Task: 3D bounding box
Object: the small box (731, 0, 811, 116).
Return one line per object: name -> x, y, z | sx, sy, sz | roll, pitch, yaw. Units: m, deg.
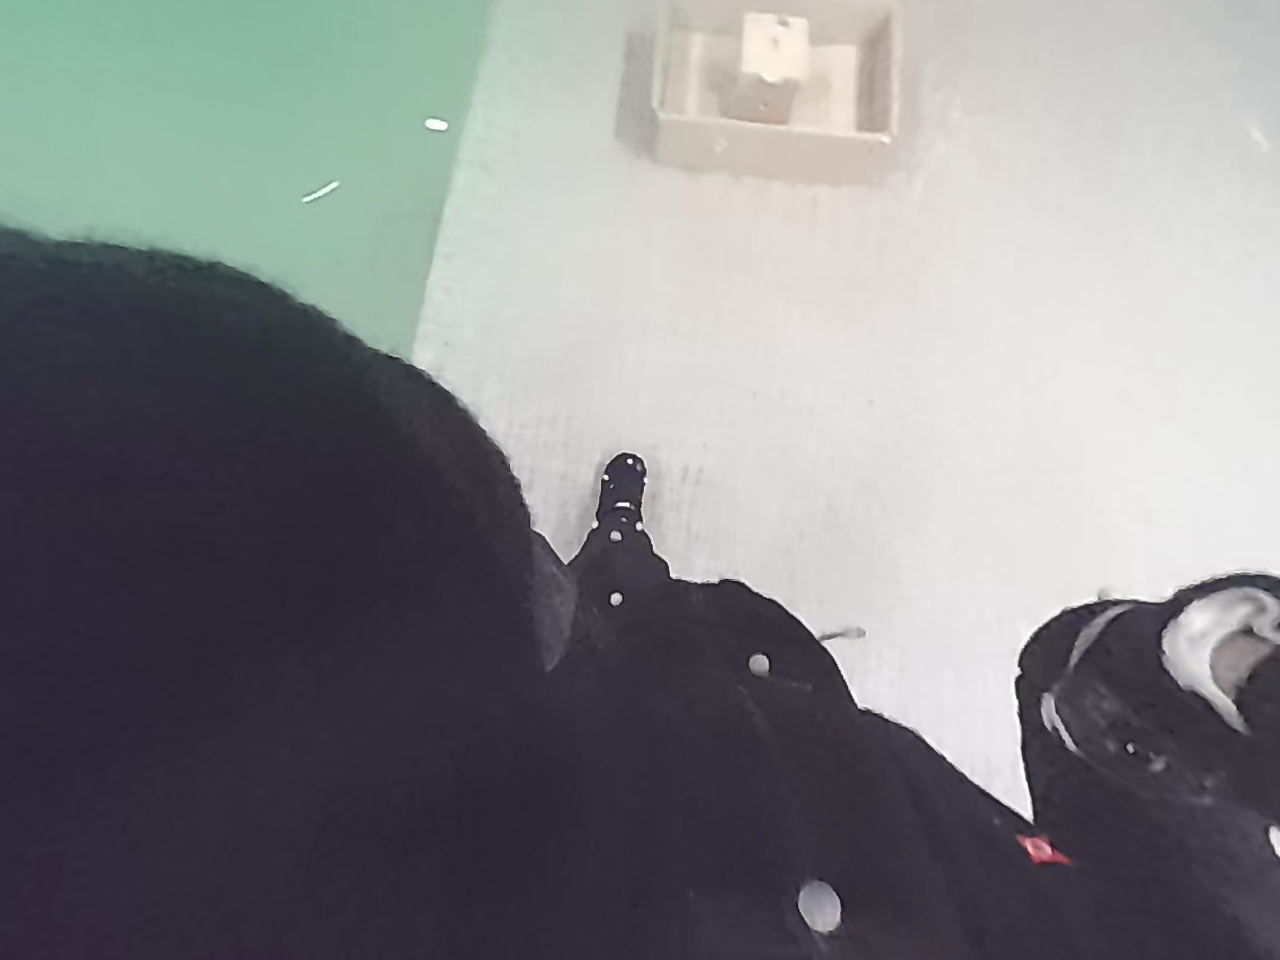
small box -> 0.338, -1.104, 1.424 | 0.168, 0.176, 0.179 | 6, 85, 0
